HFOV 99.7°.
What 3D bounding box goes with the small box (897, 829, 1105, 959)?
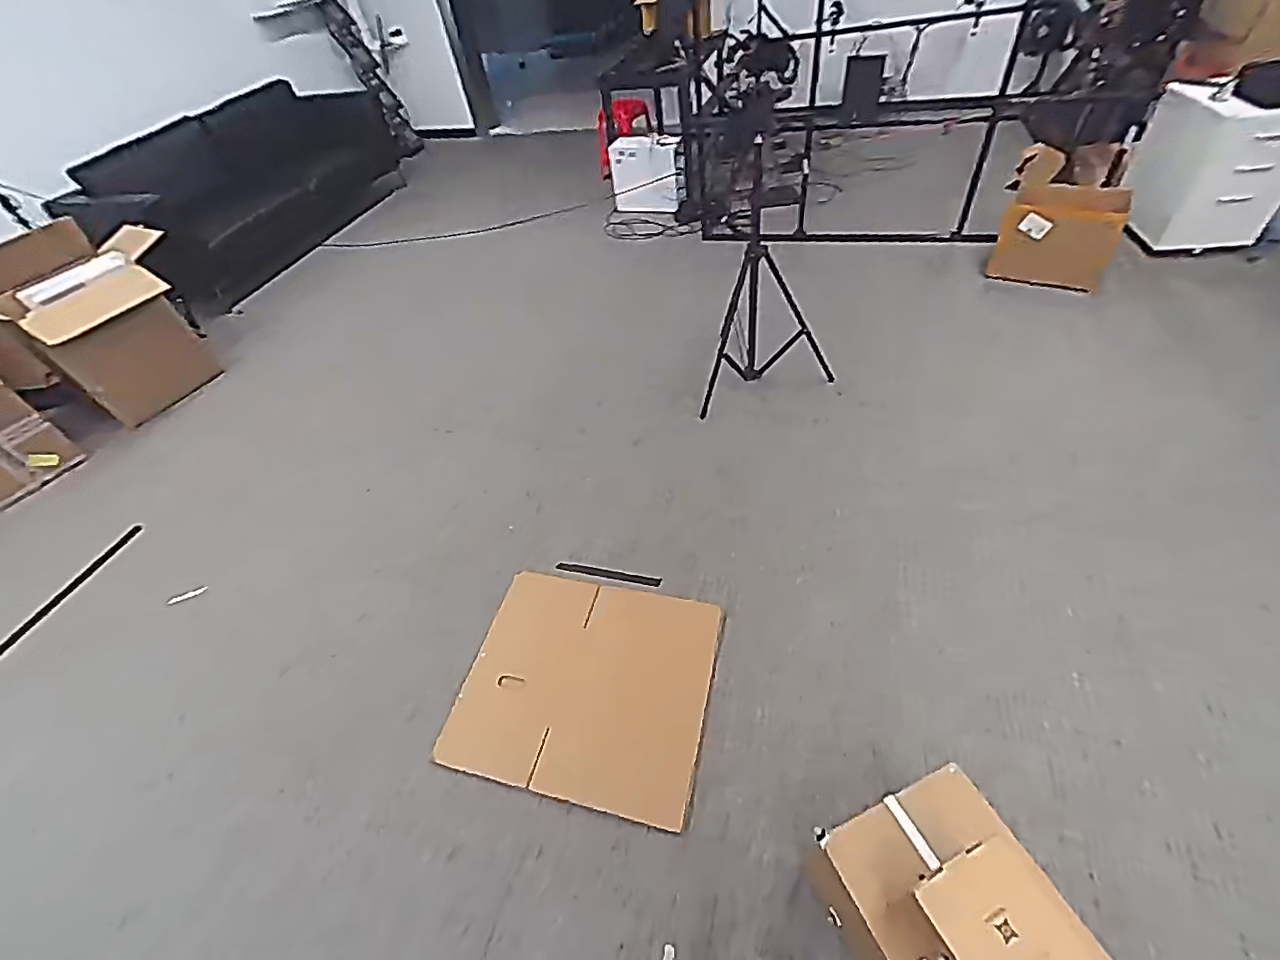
[{"bbox_3d":[0.519,0.669,0.810,0.168,0.176,0.179,-25,49,-11],"label":"small box"}]
